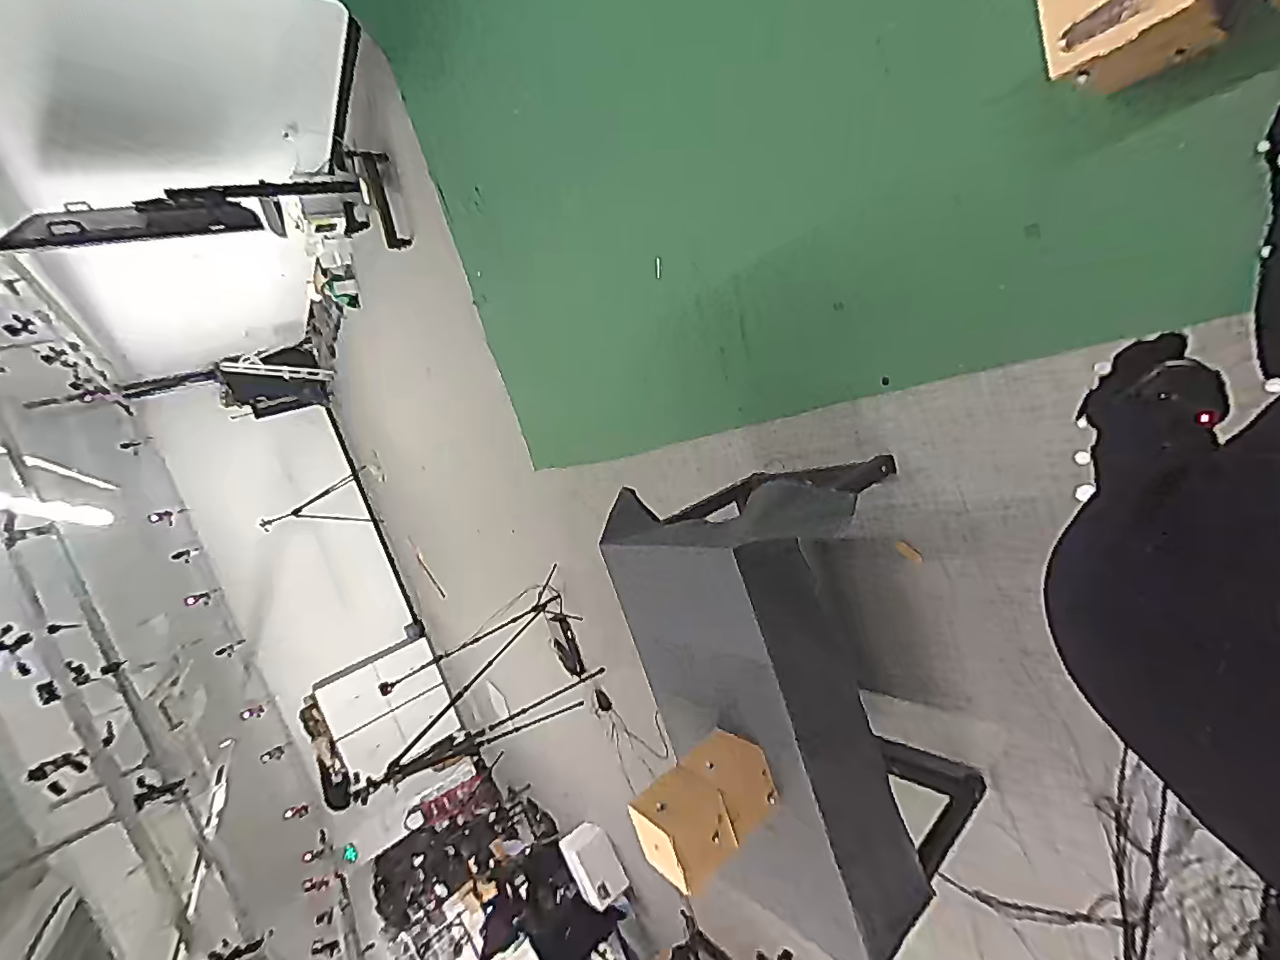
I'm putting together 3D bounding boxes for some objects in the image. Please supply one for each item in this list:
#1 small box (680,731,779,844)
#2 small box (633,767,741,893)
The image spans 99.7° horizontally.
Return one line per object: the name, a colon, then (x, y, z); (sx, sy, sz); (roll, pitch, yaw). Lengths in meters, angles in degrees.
small box: (0.242, 0.794, 1.420); (0.179, 0.176, 0.168); (-10, 101, 57)
small box: (0.116, 0.845, 1.330); (0.179, 0.176, 0.168); (-10, 101, 56)
